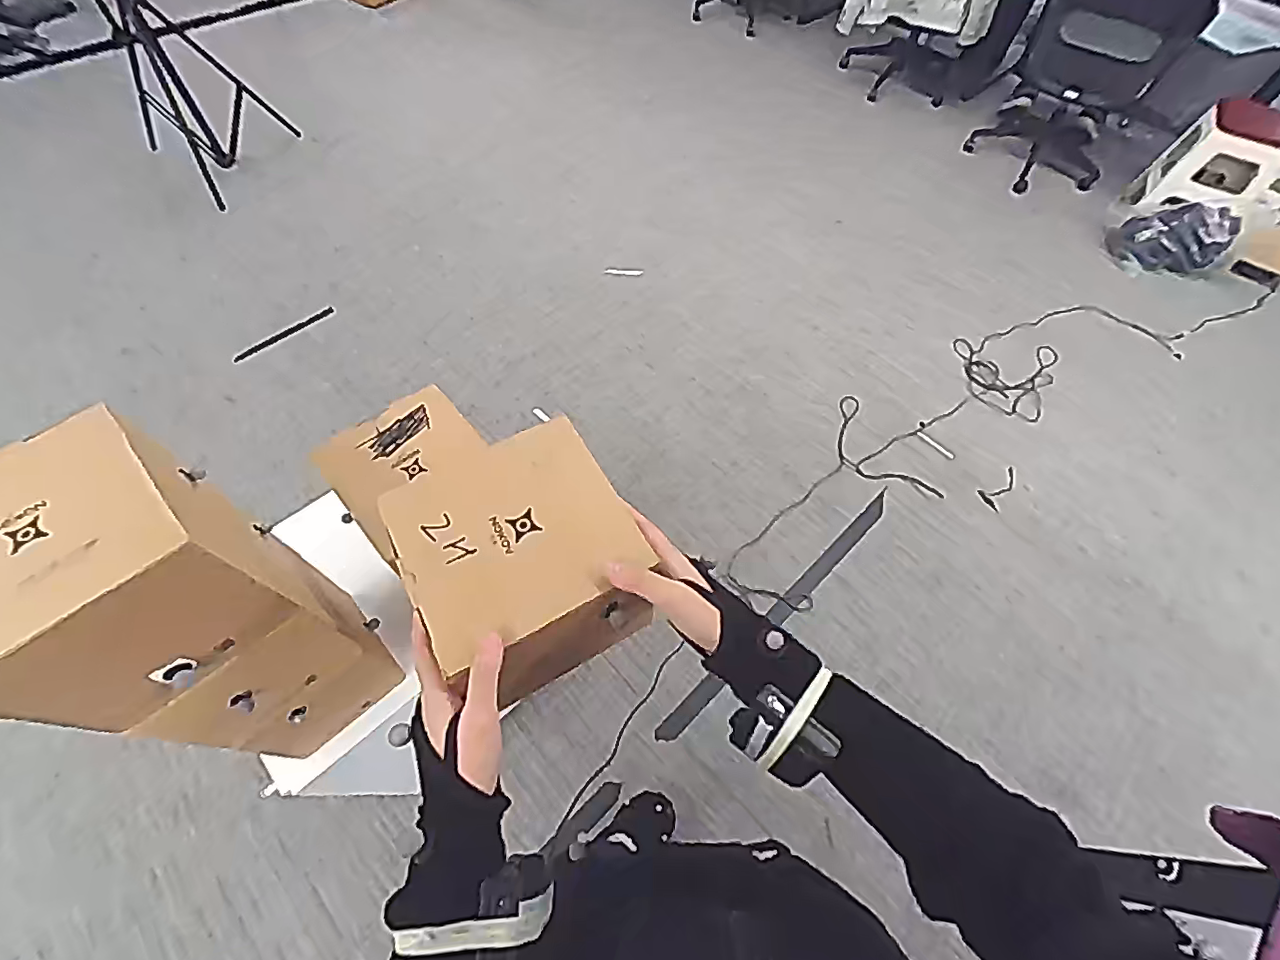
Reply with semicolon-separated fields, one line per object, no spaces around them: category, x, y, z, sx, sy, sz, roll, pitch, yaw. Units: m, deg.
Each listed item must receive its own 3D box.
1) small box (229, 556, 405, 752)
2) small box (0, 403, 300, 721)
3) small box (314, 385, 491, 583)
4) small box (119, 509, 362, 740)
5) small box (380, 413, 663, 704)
small box;-0.457;0.242;0.736;0.168;0.176;0.179;-38;68;-22
small box;-0.439;0.076;0.456;0.168;0.176;0.179;-40;70;-22
small box;-0.261;0.021;0.684;0.168;0.176;0.179;-37;69;-21
small box;-0.447;0.160;0.595;0.168;0.176;0.179;-40;69;-23
small box;-0.097;0.076;0.490;0.179;0.176;0.168;-27;63;-15
